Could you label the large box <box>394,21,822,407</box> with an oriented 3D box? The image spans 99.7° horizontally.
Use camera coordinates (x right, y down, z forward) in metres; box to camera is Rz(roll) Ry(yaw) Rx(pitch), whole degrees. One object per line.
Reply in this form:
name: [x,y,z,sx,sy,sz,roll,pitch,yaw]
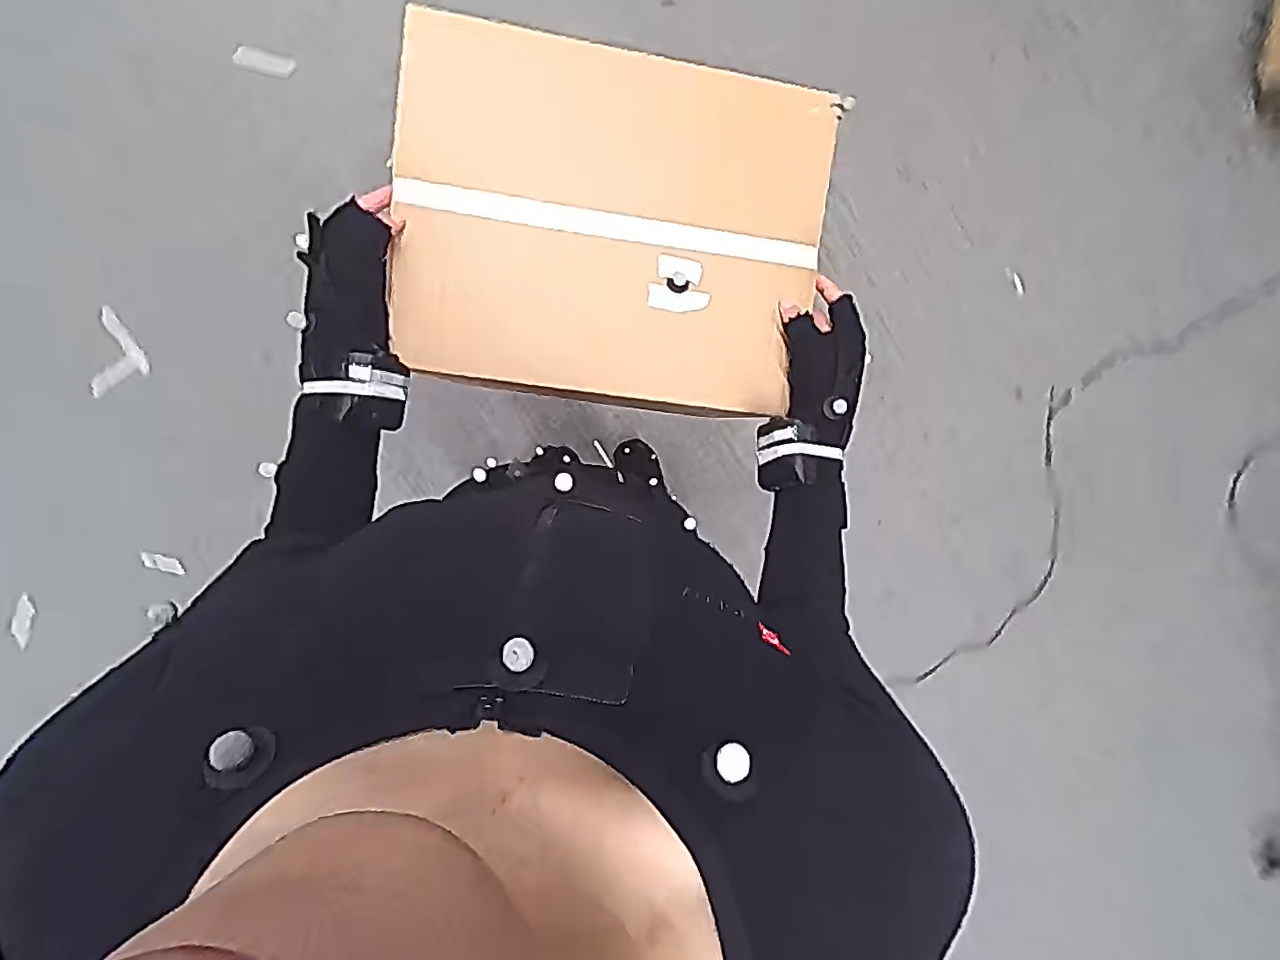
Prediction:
large box: [-0.046,-0.266,0.672,0.408,0.320,0.320,5,96,-7]
